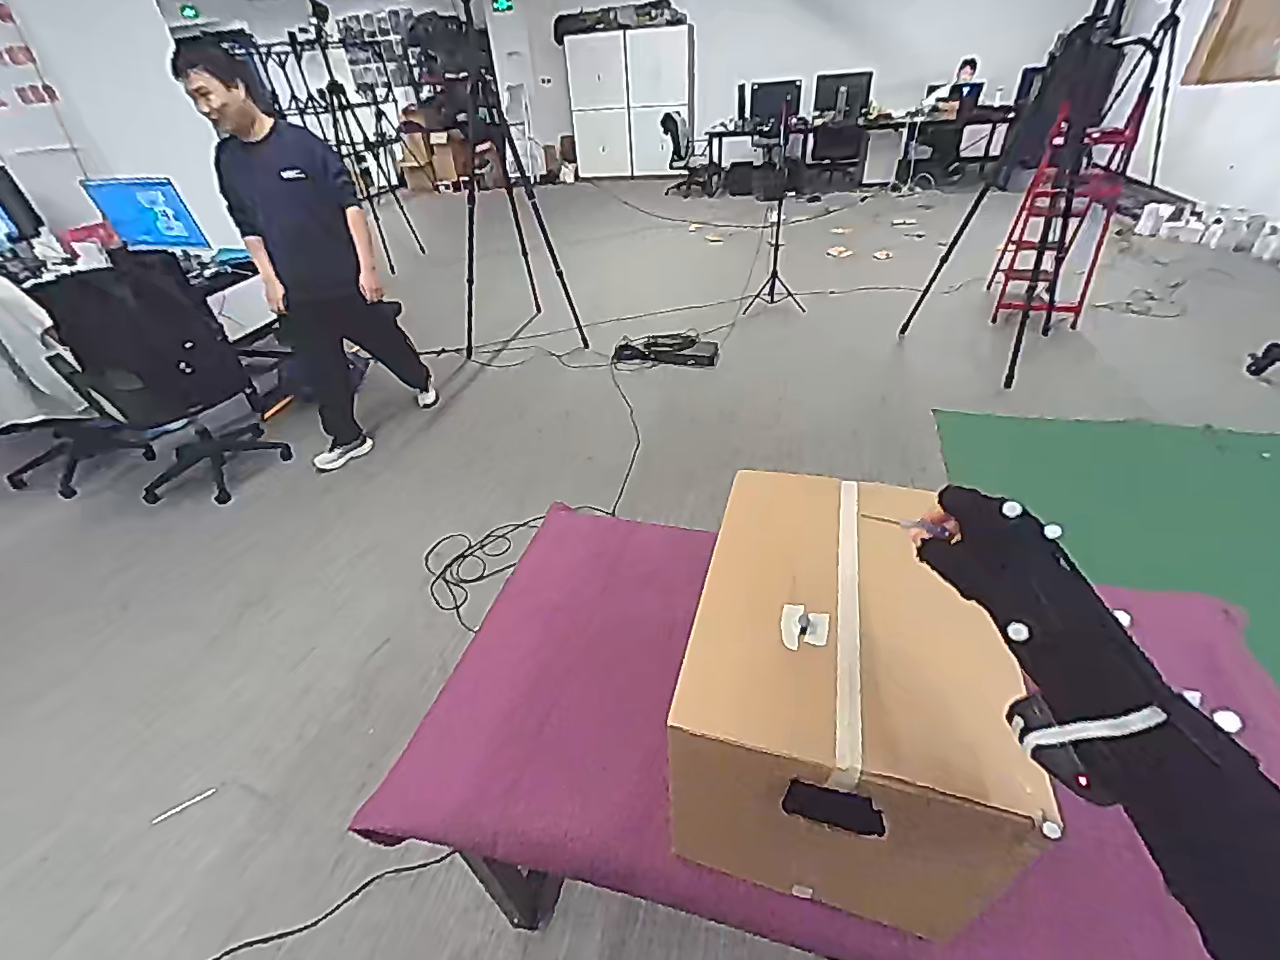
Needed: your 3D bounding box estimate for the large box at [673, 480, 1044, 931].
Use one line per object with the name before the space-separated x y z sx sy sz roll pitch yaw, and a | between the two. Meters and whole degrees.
large box | 0.237 0.255 0.703 0.320 0.320 0.408 8 39 16
